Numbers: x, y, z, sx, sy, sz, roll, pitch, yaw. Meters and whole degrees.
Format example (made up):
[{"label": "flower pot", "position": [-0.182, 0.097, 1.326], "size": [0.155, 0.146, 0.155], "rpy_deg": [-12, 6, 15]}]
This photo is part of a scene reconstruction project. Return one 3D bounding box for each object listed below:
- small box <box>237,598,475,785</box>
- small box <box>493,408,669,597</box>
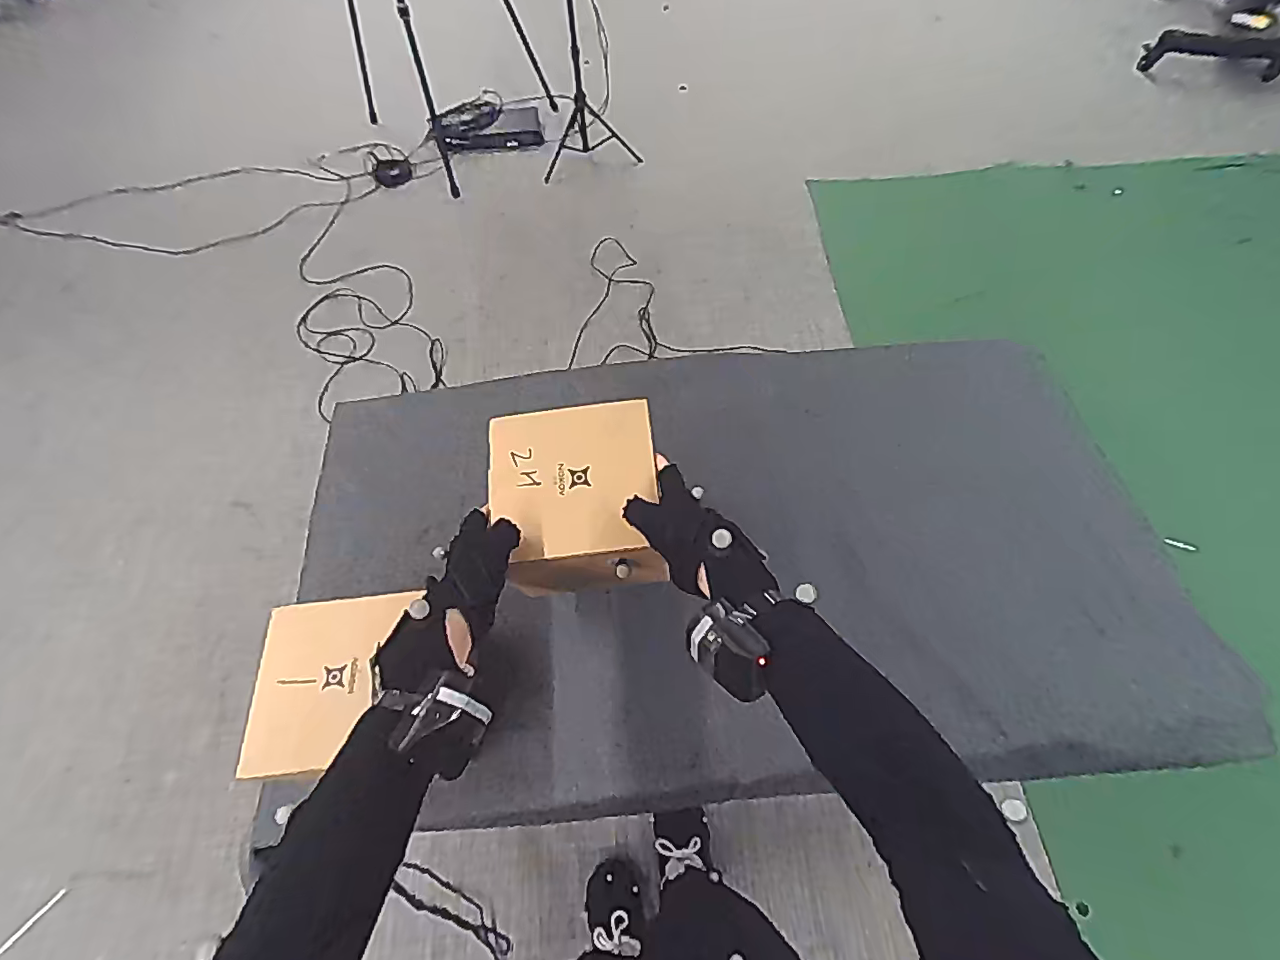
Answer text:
[{"label": "small box", "position": [-0.296, 0.243, 0.613], "size": [0.179, 0.176, 0.168], "rpy_deg": [-6, 61, -2]}, {"label": "small box", "position": [-0.060, 0.035, 0.633], "size": [0.179, 0.176, 0.168], "rpy_deg": [-6, 67, 2]}]
